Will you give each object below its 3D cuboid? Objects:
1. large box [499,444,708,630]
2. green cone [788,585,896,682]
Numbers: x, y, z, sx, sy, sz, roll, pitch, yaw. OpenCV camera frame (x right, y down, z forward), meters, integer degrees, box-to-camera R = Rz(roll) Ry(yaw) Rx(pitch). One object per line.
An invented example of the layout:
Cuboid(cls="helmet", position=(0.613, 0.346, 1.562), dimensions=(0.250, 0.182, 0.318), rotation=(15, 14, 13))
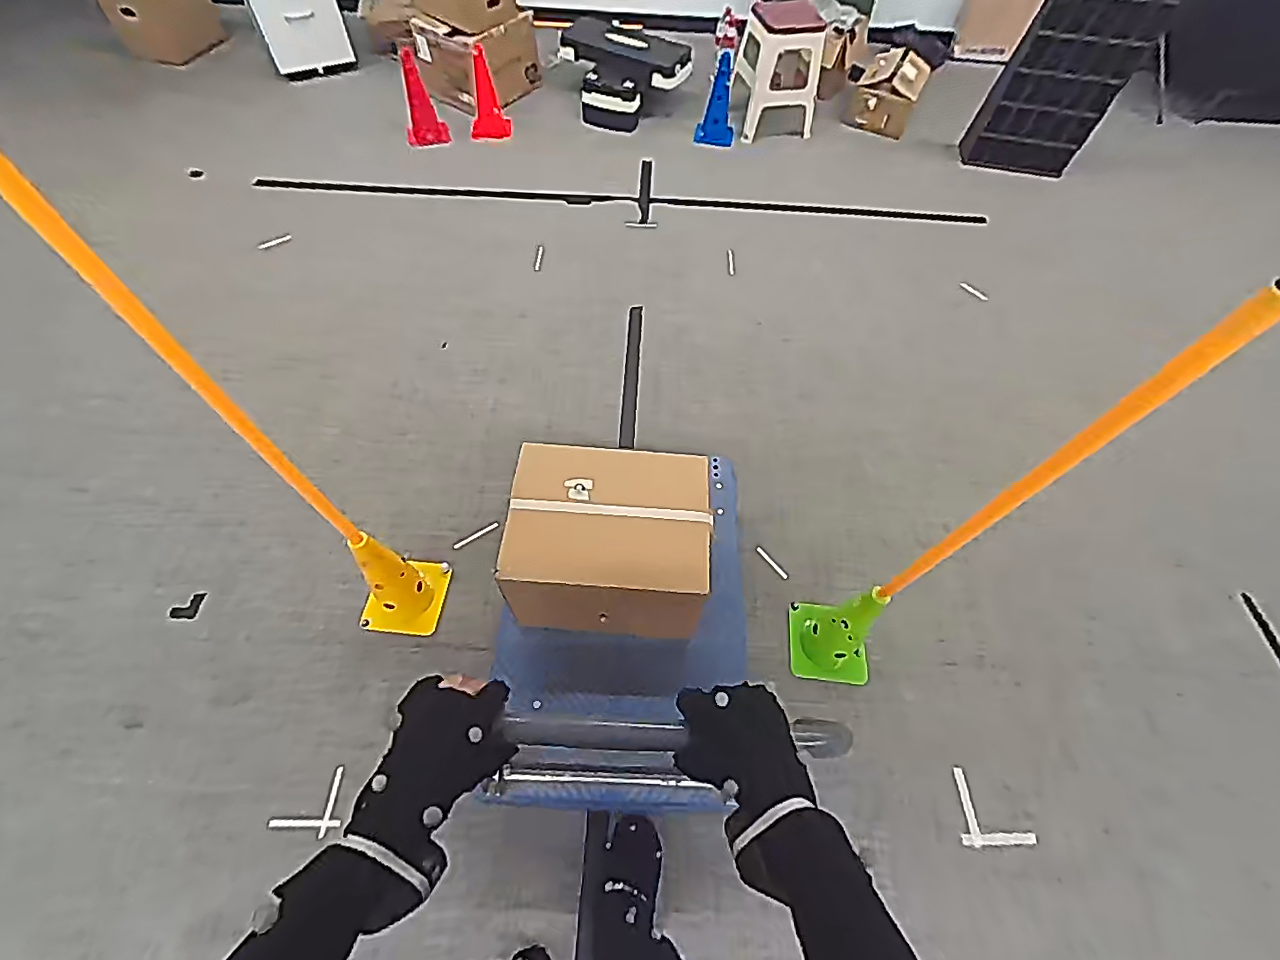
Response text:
Cuboid(cls="large box", position=(-0.065, 0.141, 1.222), dimensions=(0.408, 0.320, 0.320), rotation=(4, 58, 1))
Cuboid(cls="green cone", position=(0.509, 0.338, 1.299), dimensions=(0.202, 0.368, 0.200), rotation=(7, 58, 0))
